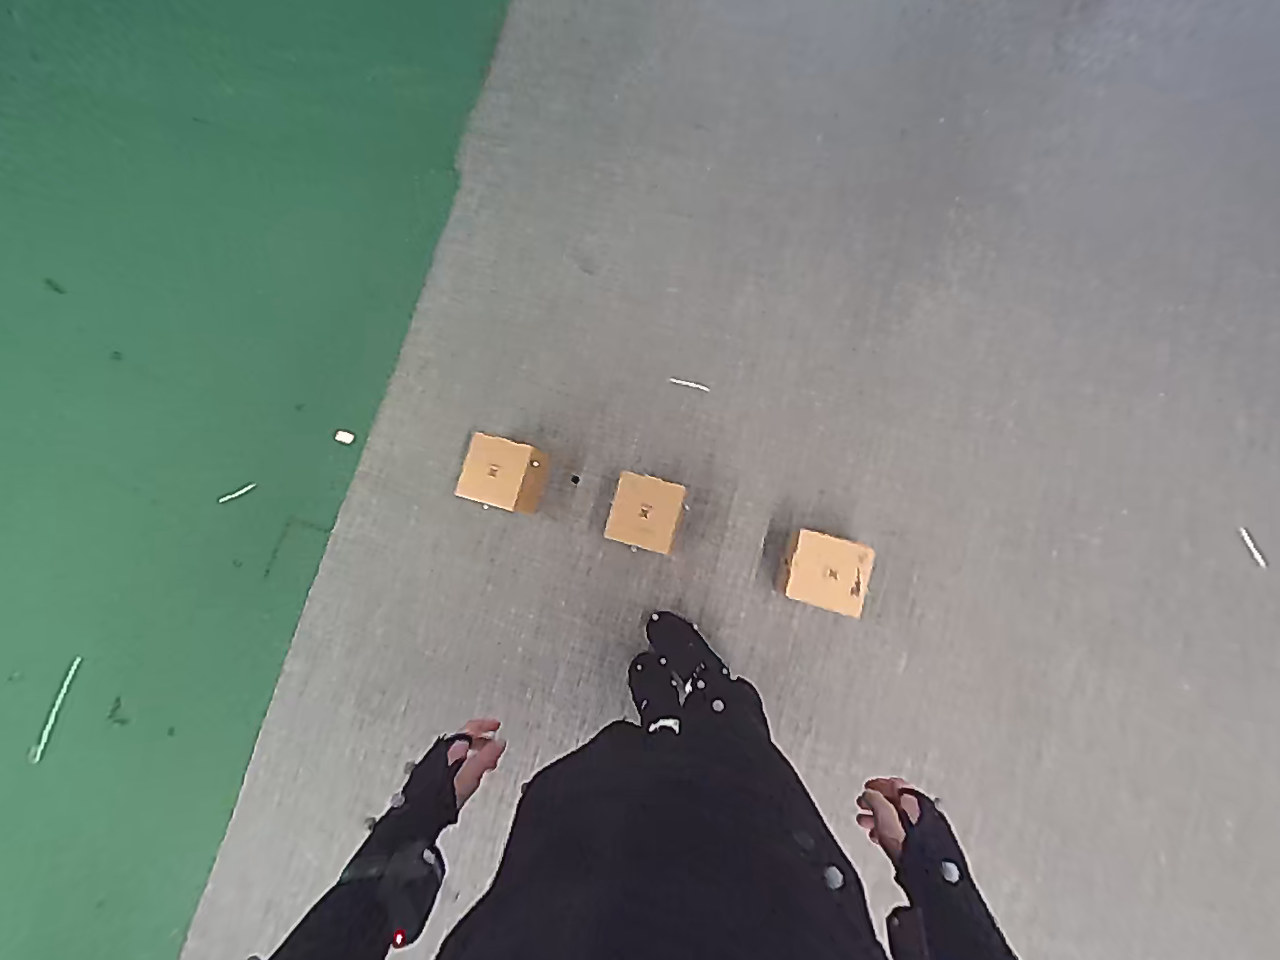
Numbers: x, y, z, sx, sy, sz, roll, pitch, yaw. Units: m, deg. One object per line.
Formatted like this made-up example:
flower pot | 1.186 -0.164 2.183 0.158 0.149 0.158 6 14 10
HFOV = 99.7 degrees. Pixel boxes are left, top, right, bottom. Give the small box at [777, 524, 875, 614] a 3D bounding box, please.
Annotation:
small box | 0.442 0.216 1.317 0.179 0.176 0.168 16 84 9

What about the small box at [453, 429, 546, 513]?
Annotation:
small box | -0.366 -0.017 1.444 0.168 0.176 0.179 14 83 9

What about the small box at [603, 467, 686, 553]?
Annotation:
small box | 0.017 0.081 1.387 0.168 0.176 0.179 15 84 9
